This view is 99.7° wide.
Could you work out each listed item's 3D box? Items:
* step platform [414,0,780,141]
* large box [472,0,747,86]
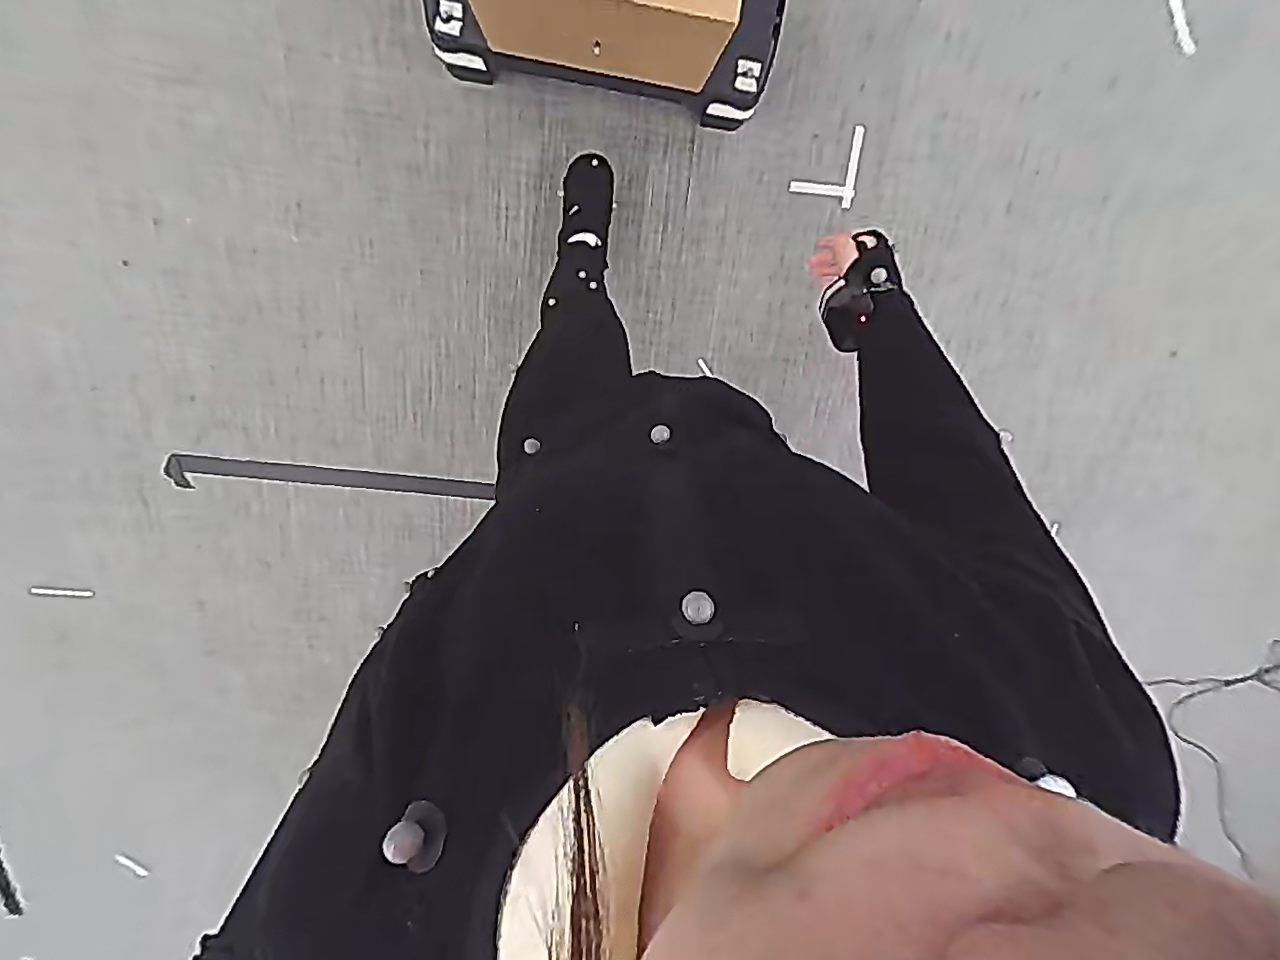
[{"bbox_3d":[-0.076,-0.924,1.054,0.684,0.204,0.286,11,109,-7],"label":"step platform"},{"bbox_3d":[-0.039,-0.856,0.827,0.408,0.320,0.320,6,109,-6],"label":"large box"}]
